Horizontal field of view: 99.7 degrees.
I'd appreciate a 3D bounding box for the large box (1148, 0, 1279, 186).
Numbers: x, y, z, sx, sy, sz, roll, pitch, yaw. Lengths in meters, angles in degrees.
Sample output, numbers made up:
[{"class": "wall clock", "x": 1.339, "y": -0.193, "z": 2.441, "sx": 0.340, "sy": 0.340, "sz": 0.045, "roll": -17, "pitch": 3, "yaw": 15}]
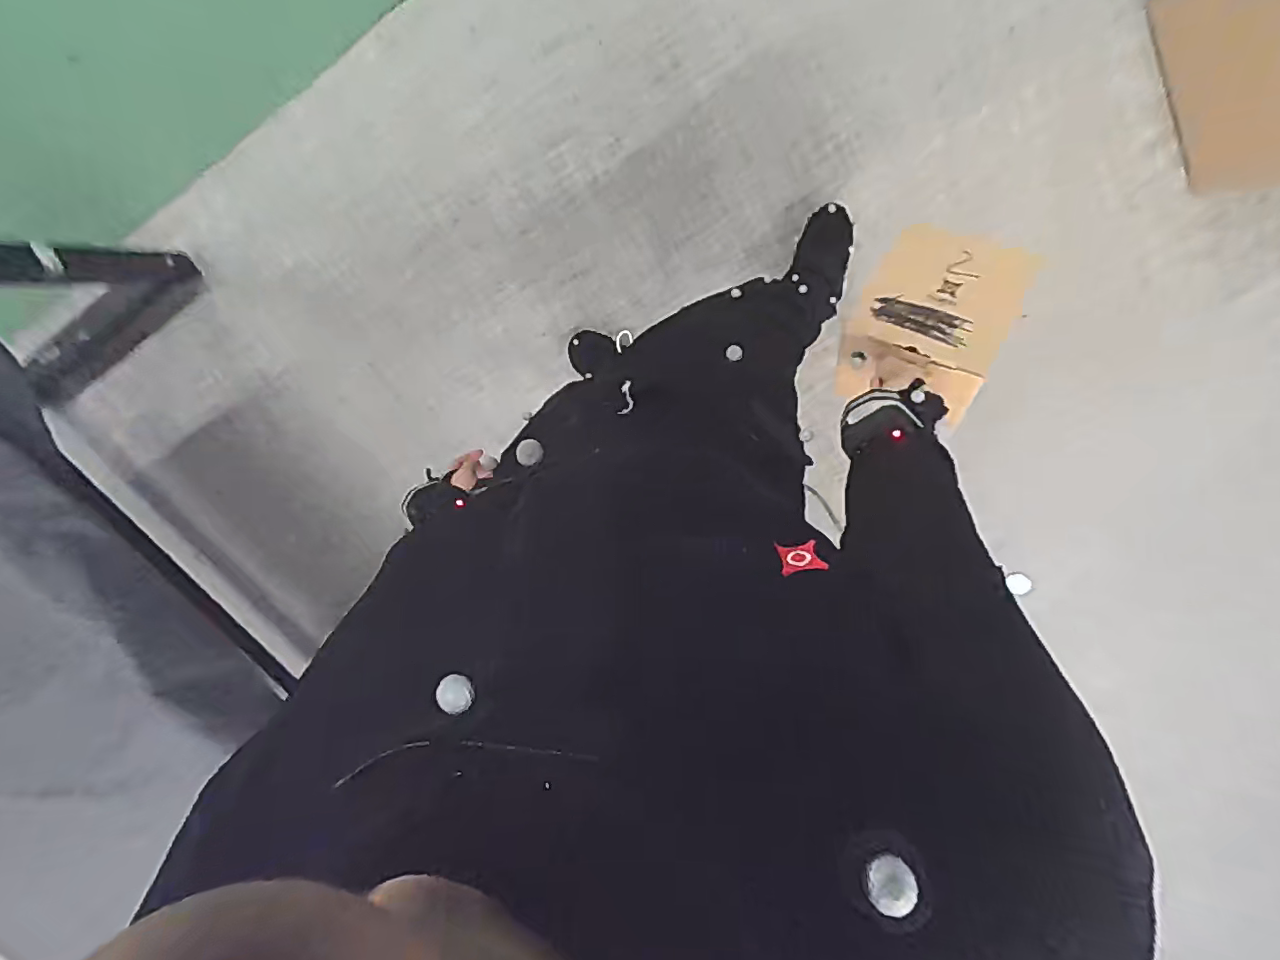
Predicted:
[{"class": "large box", "x": 1.204, "y": -0.803, "z": 0.929, "sx": 0.320, "sy": 0.320, "sz": 0.408, "roll": -32, "pitch": 108, "yaw": 11}]
